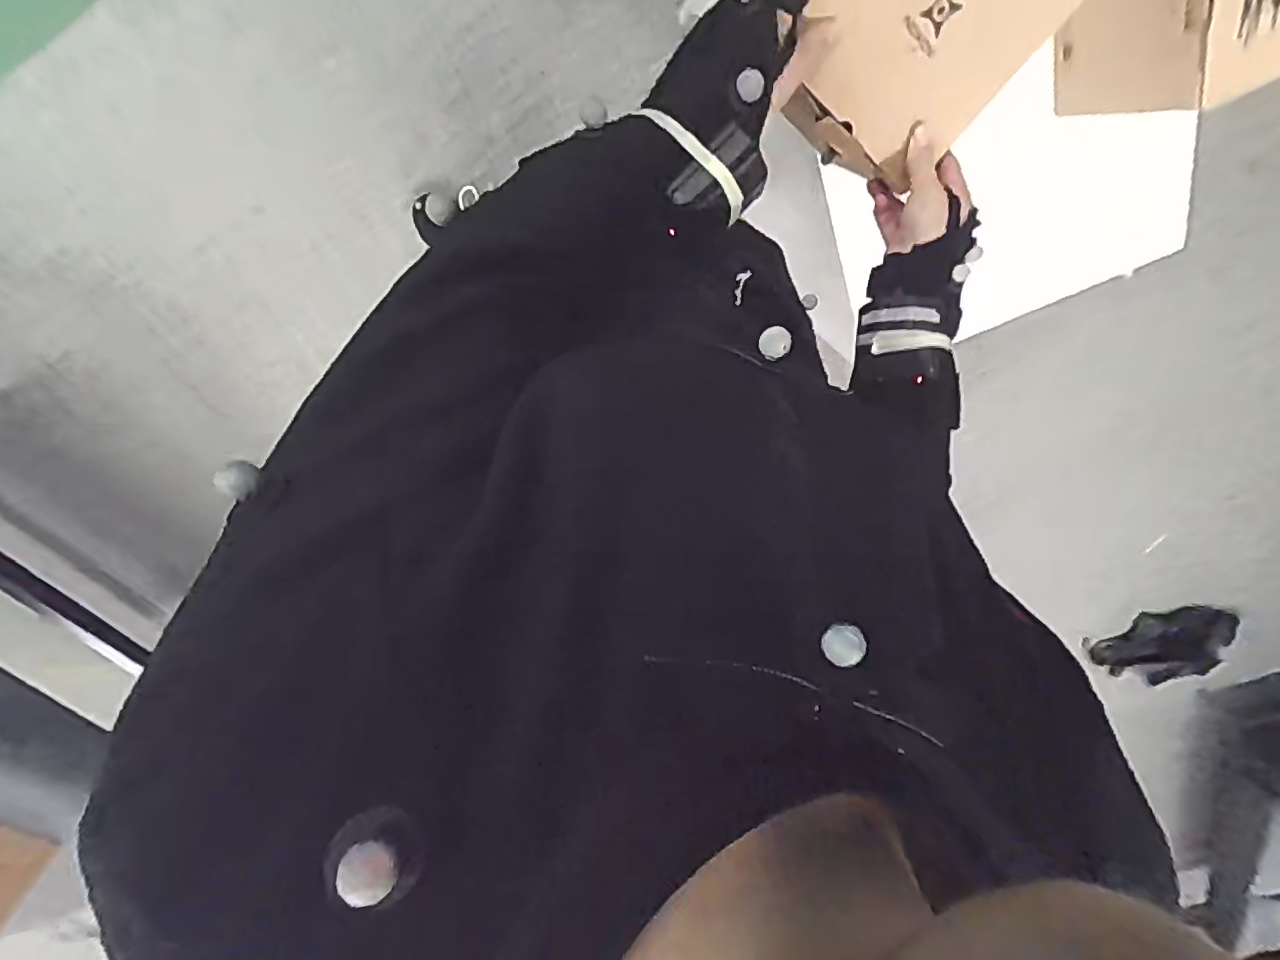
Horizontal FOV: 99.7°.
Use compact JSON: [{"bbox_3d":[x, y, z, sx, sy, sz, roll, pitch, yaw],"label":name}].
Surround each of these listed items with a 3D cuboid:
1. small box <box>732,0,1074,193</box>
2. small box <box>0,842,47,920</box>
[{"bbox_3d":[0.195,-0.380,0.445,0.168,0.176,0.179,26,120,-27],"label":"small box"},{"bbox_3d":[-1.154,0.696,0.878,0.168,0.176,0.179,-35,117,17],"label":"small box"}]
